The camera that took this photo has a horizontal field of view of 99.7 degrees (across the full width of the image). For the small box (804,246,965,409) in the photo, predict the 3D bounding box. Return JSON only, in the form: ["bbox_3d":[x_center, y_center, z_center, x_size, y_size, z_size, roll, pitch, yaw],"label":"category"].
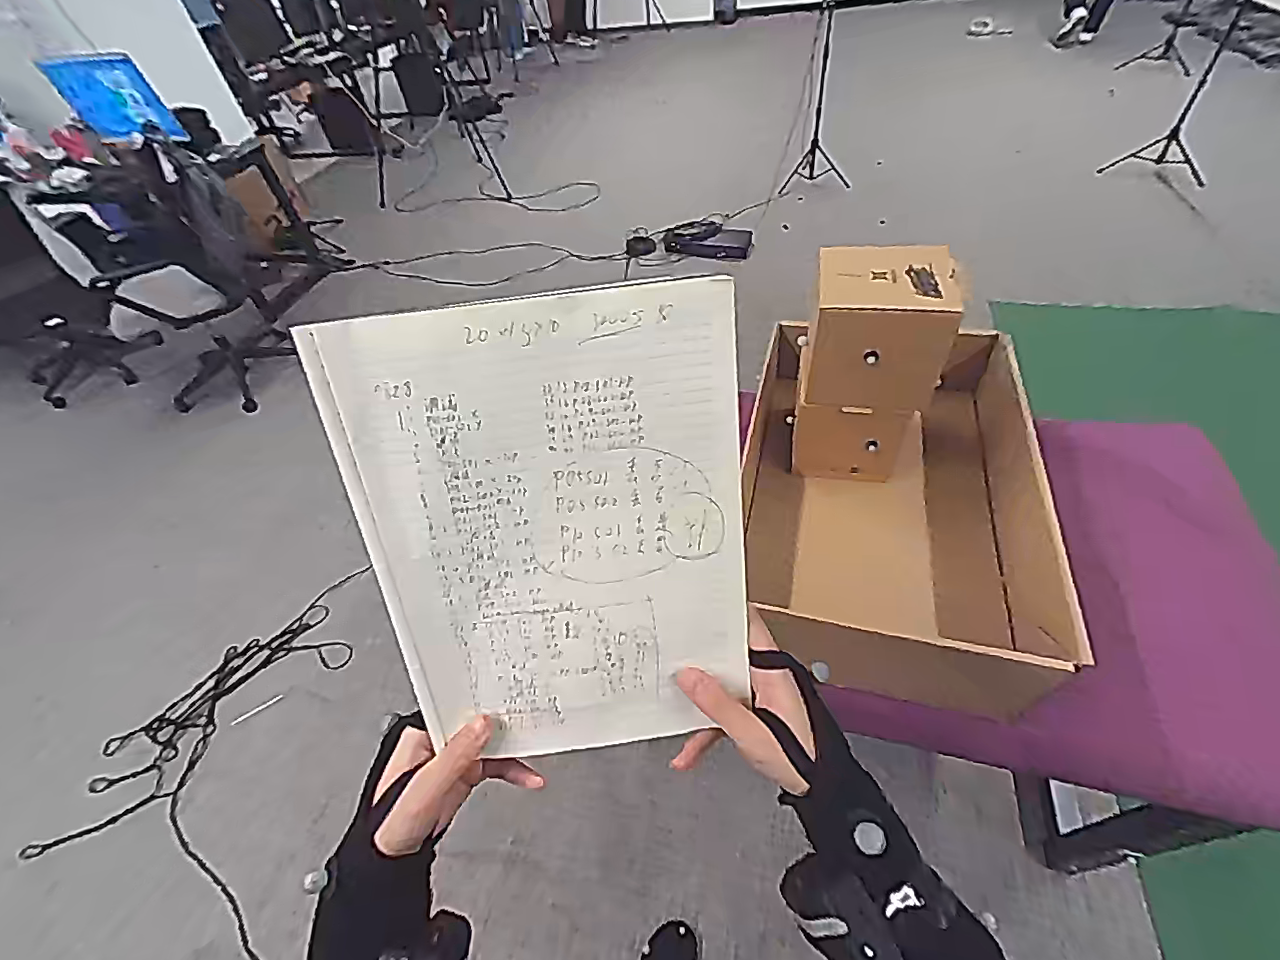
[{"bbox_3d":[0.345,-0.222,0.795,0.179,0.176,0.168,6,50,13],"label":"small box"}]
